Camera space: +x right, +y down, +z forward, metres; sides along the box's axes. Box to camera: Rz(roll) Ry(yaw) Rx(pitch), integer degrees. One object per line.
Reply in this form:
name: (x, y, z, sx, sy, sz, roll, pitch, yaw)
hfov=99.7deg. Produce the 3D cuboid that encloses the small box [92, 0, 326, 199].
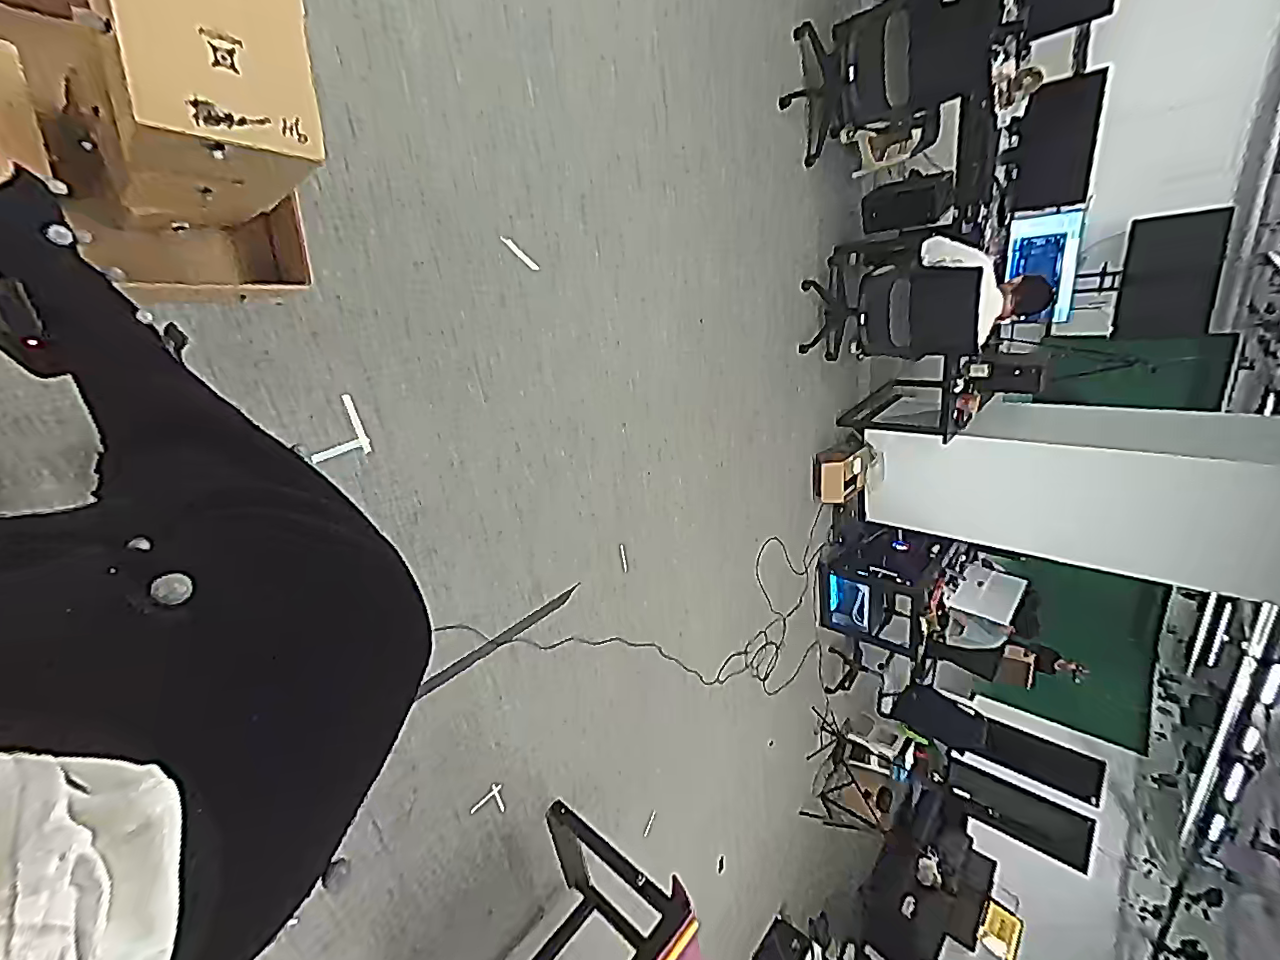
small box: (-0.472, -0.436, 0.596, 0.168, 0.176, 0.179, -14, 107, -43)

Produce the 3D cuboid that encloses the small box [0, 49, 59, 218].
small box: (-0.864, -0.431, 0.664, 0.179, 0.176, 0.168, -17, 110, -45)
